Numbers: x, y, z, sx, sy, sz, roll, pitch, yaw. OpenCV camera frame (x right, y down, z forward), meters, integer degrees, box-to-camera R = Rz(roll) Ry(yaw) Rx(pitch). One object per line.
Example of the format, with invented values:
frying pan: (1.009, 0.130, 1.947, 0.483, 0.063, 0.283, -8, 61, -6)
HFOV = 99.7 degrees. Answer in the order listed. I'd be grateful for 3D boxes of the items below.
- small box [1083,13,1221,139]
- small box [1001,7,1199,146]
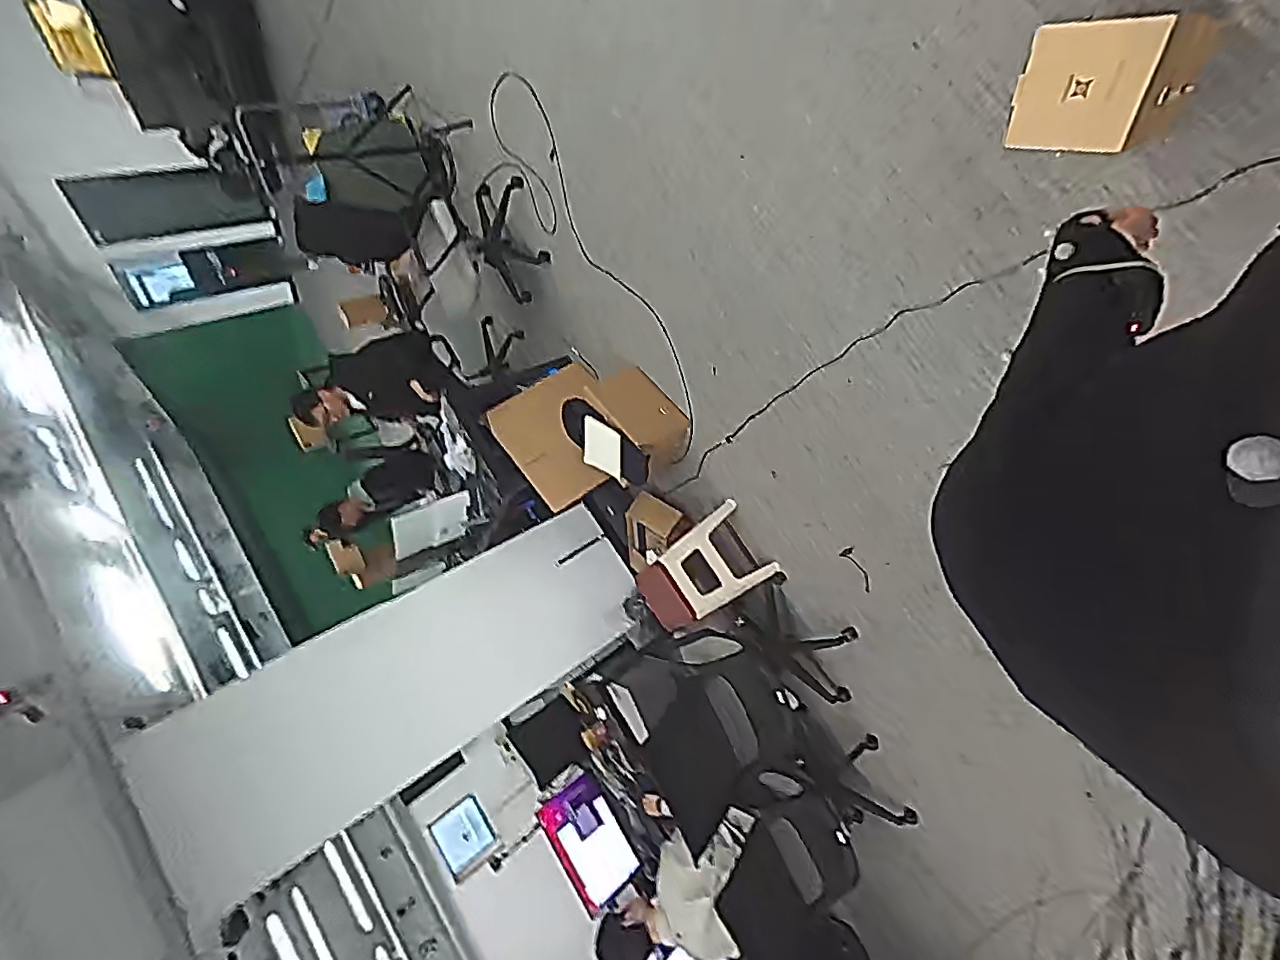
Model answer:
small box: (0.862, -0.719, 0.959, 0.179, 0.176, 0.168, 38, 141, 35)
small box: (0.739, -0.649, 0.878, 0.179, 0.176, 0.168, 32, 140, 38)
